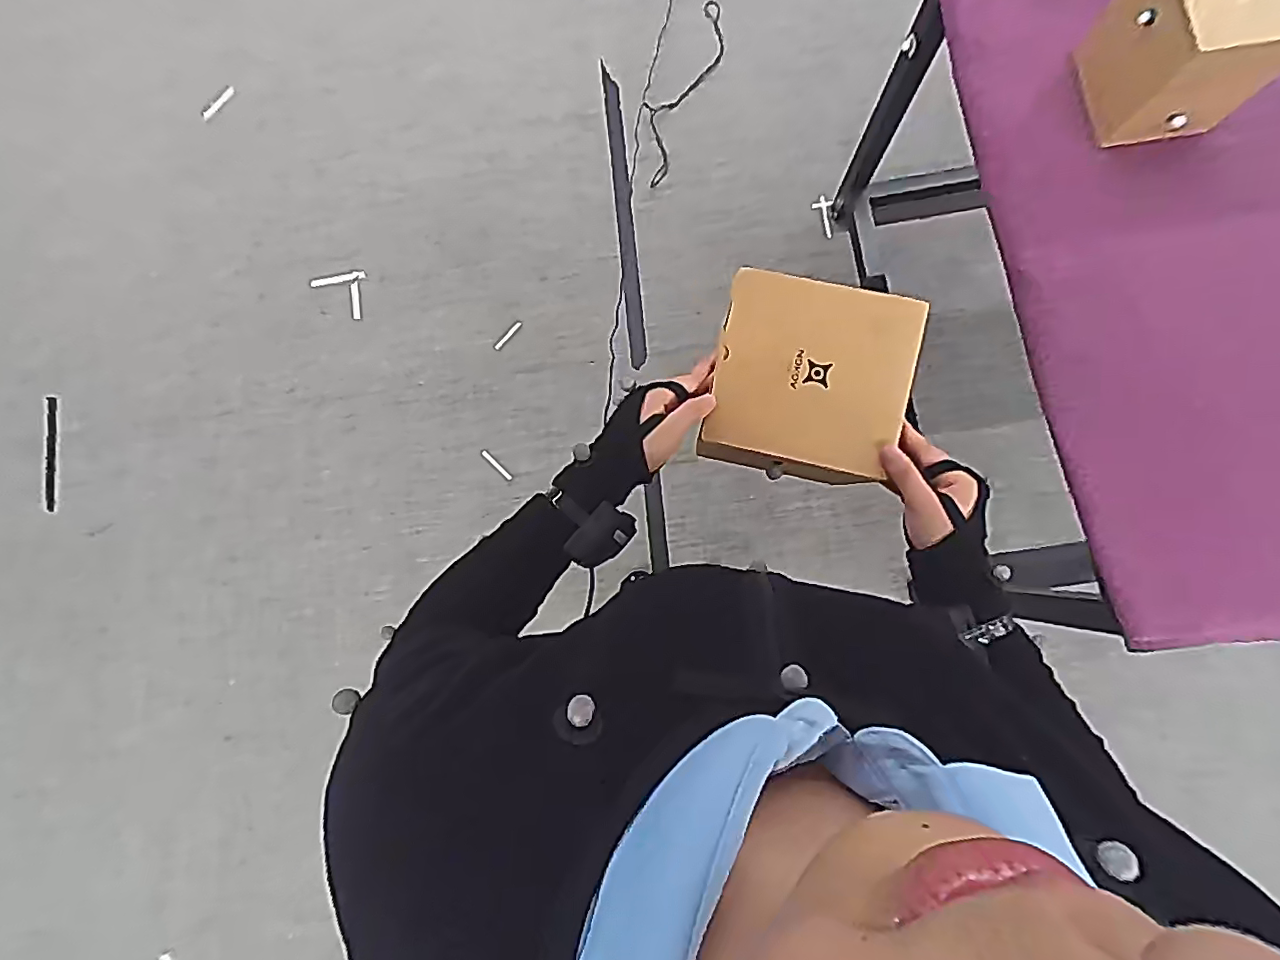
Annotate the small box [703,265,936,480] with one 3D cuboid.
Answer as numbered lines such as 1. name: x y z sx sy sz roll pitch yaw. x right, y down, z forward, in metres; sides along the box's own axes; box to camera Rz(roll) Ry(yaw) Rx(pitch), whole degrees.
1. small box: 0.169 -0.098 0.566 0.179 0.176 0.168 13 90 6

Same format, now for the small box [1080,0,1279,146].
1. small box: 0.779 -0.621 0.770 0.168 0.176 0.179 -7 82 3
